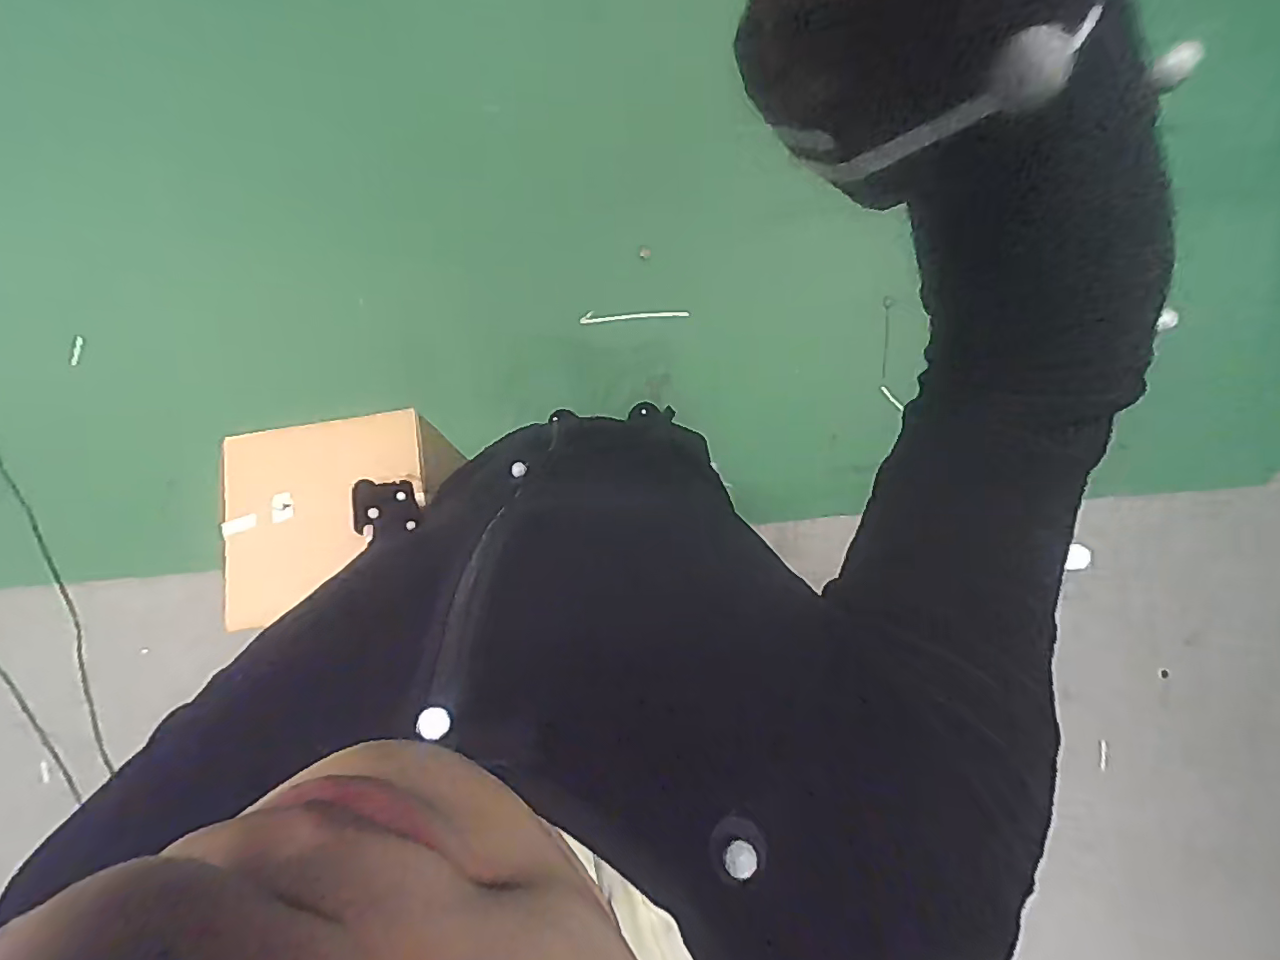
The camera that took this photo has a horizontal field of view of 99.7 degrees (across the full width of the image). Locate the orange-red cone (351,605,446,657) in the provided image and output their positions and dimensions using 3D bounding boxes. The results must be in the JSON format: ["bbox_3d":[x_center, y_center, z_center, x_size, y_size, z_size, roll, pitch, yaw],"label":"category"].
[{"bbox_3d":[-0.695,0.399,1.498,0.199,0.360,0.198,3,97,0],"label":"orange-red cone"}]

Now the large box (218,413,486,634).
[{"bbox_3d":[-0.512,0.100,1.038,0.320,0.408,0.320,-9,77,-5],"label":"large box"}]
